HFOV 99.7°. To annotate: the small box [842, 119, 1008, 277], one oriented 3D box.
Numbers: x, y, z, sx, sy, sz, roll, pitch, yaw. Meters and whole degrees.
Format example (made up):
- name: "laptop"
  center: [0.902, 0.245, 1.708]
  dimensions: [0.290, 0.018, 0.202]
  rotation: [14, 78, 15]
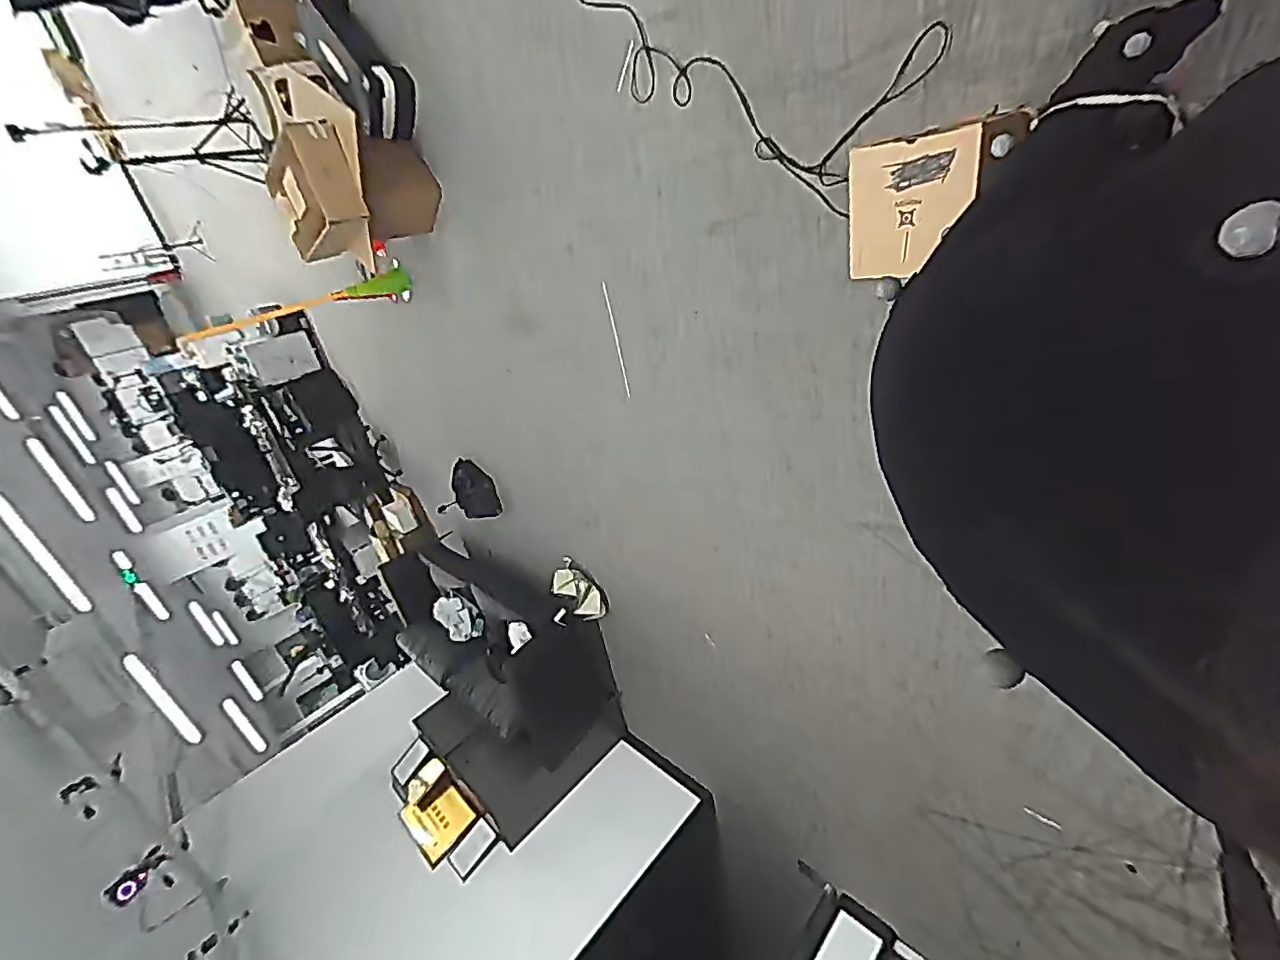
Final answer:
- name: "small box"
  center: [0.409, -0.405, 0.783]
  dimensions: [0.168, 0.176, 0.179]
  rotation: [18, 132, 41]
